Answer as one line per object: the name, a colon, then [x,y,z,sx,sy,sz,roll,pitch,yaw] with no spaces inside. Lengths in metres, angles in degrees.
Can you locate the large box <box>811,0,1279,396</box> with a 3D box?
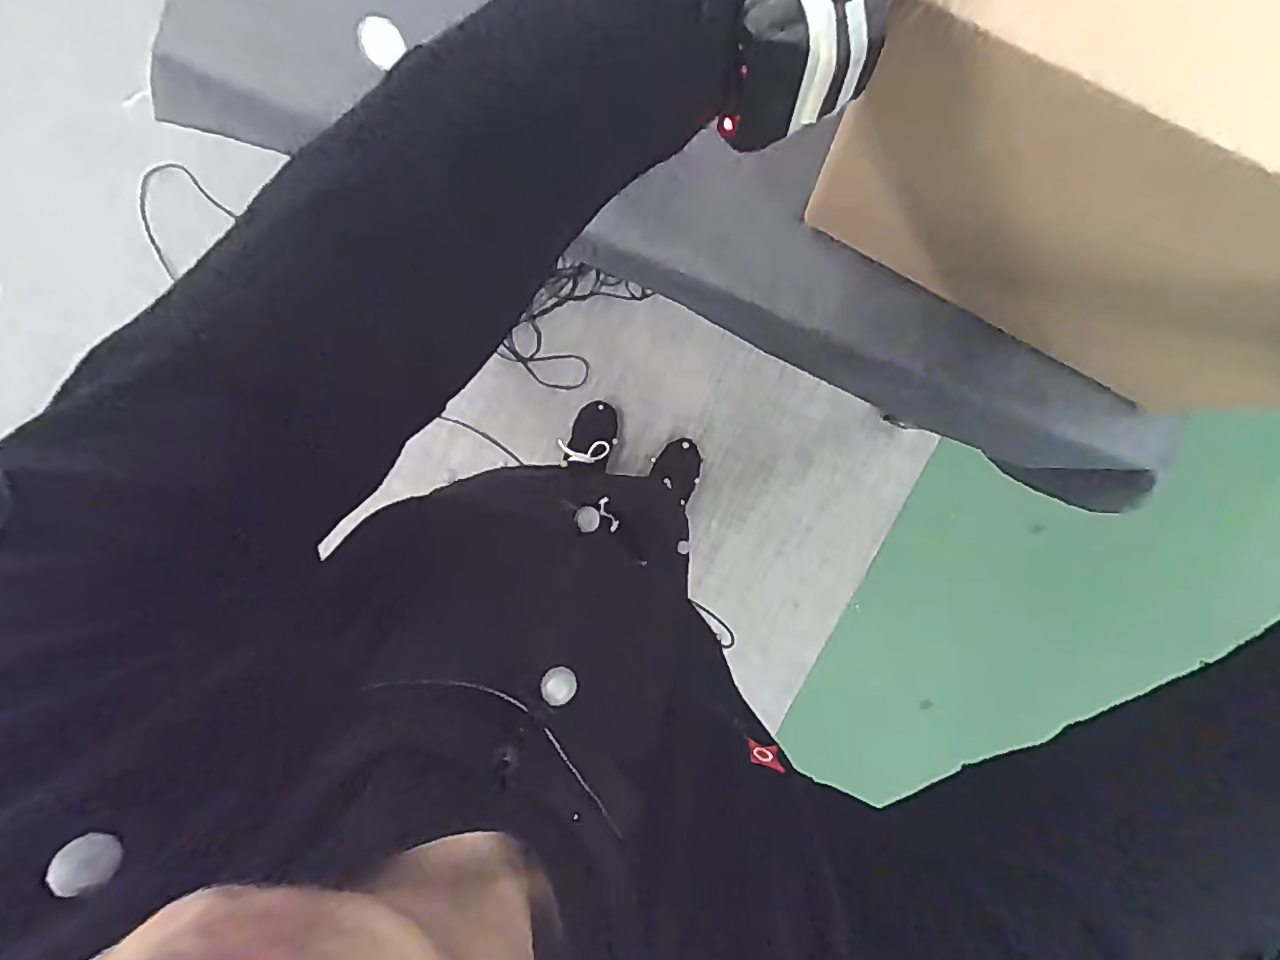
large box: [0.394,-0.290,0.371,0.408,0.320,0.320,30,100,3]
